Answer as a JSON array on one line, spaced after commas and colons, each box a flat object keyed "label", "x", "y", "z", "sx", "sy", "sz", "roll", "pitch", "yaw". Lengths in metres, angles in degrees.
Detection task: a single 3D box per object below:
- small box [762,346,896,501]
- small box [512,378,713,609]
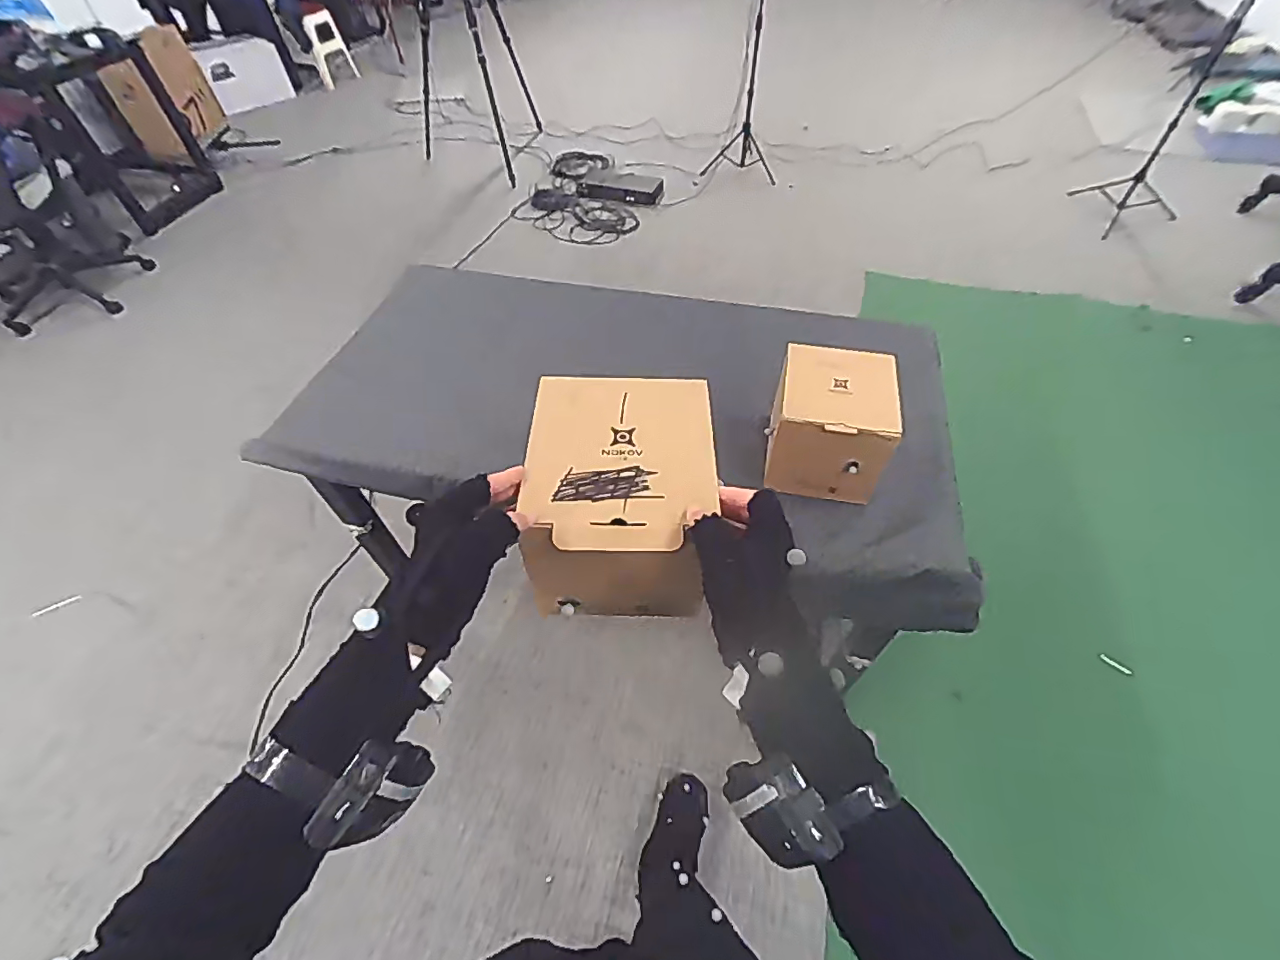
[{"label": "small box", "x": 0.293, "y": -0.088, "z": 0.867, "sx": 0.168, "sy": 0.176, "sz": 0.179, "roll": 9, "pitch": 51, "yaw": 8}, {"label": "small box", "x": -0.020, "y": 0.018, "z": 0.543, "sx": 0.168, "sy": 0.176, "sz": 0.179, "roll": 0, "pitch": 51, "yaw": 0}]
